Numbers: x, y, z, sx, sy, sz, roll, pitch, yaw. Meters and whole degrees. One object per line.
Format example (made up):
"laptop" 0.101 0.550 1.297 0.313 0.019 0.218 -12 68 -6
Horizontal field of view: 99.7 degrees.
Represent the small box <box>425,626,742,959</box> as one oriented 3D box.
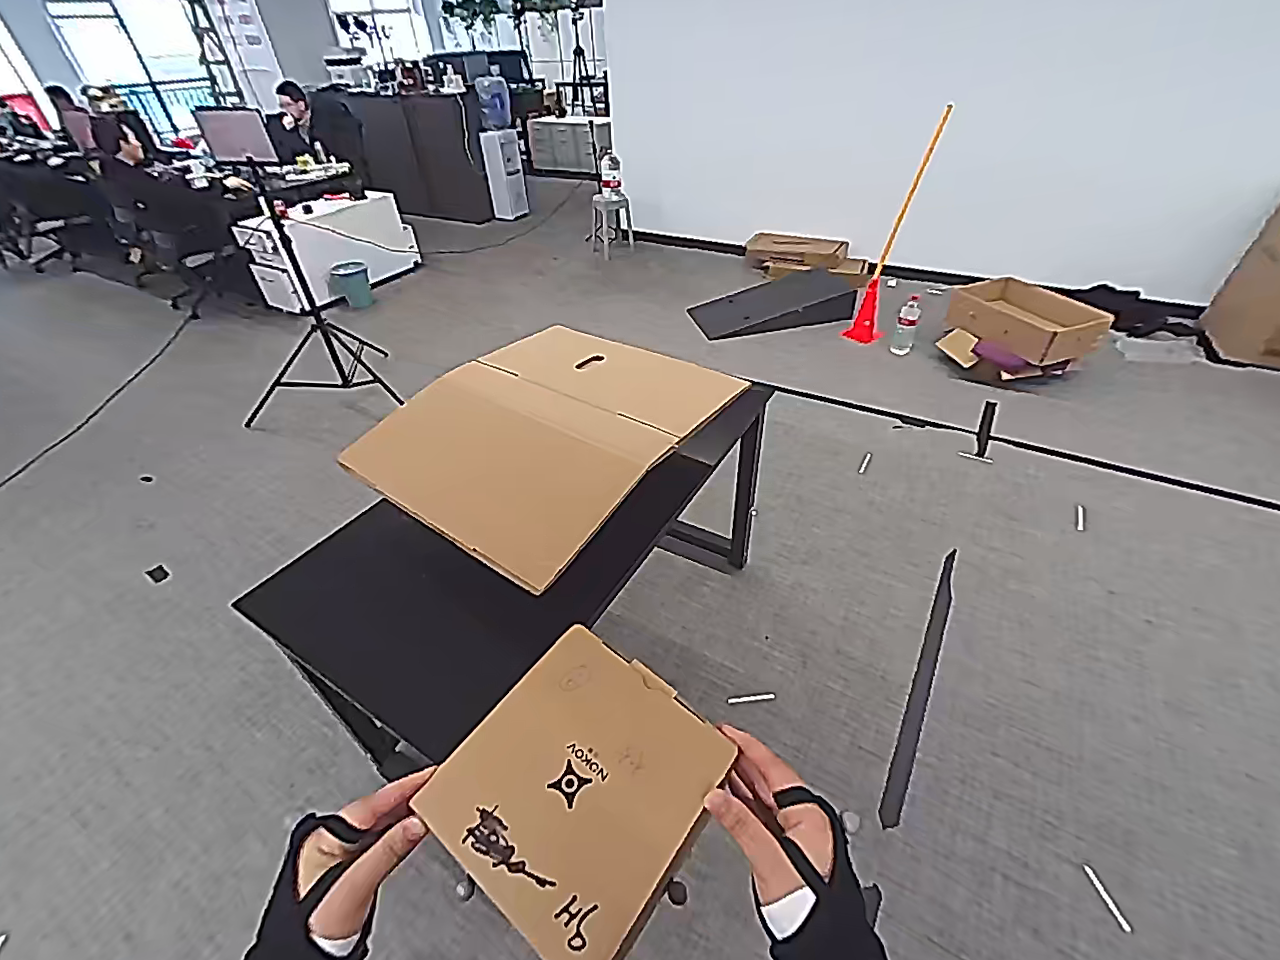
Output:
"small box" -0.039 0.266 0.450 0.168 0.176 0.179 30 53 25
